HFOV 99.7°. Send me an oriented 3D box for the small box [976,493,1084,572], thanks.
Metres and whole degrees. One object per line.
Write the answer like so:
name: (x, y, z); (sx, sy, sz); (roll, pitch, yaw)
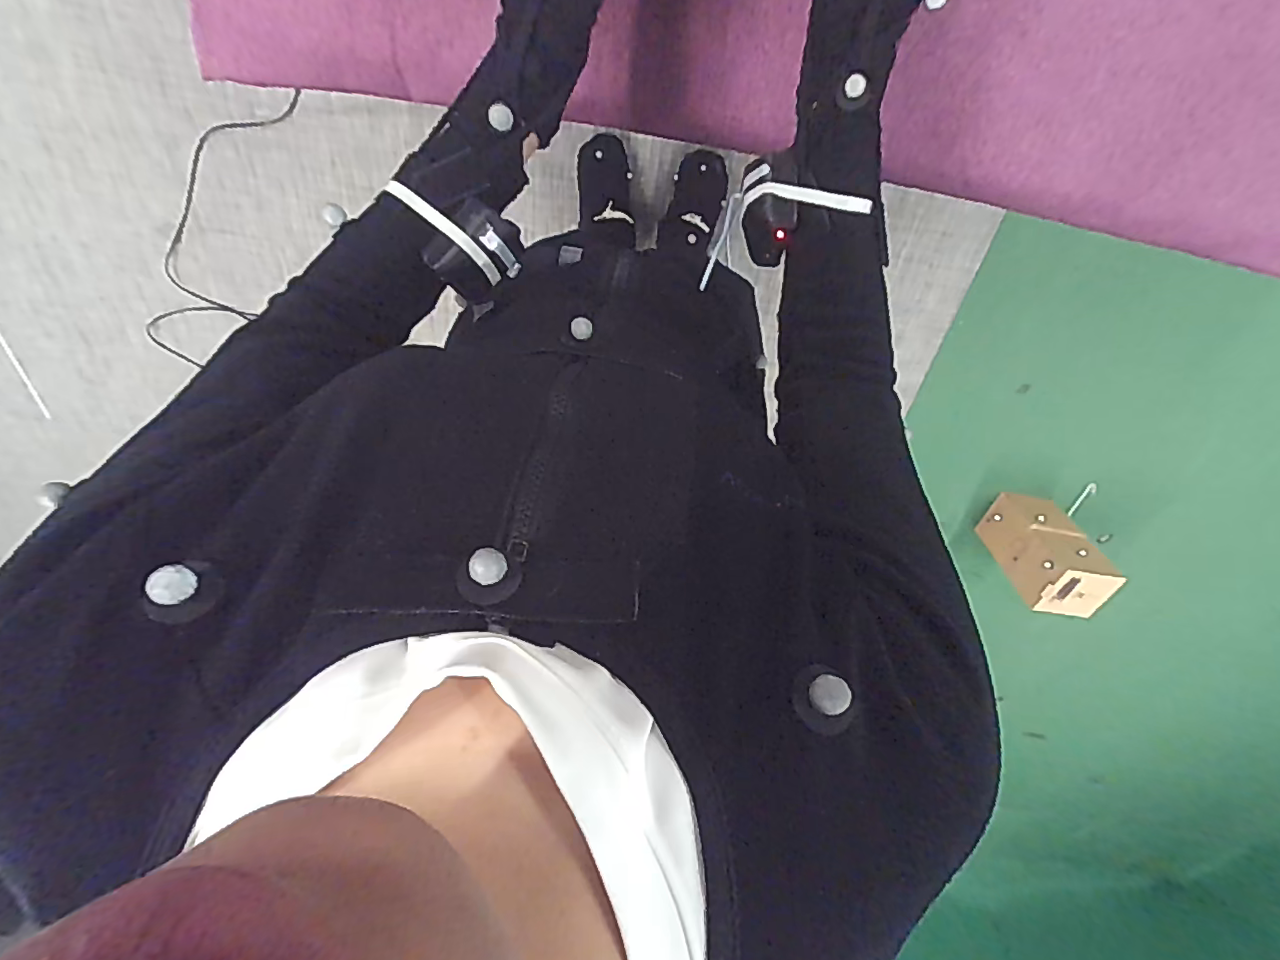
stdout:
small box: (1.195, 0.159, 1.672); (0.179, 0.176, 0.168); (10, 126, -4)
